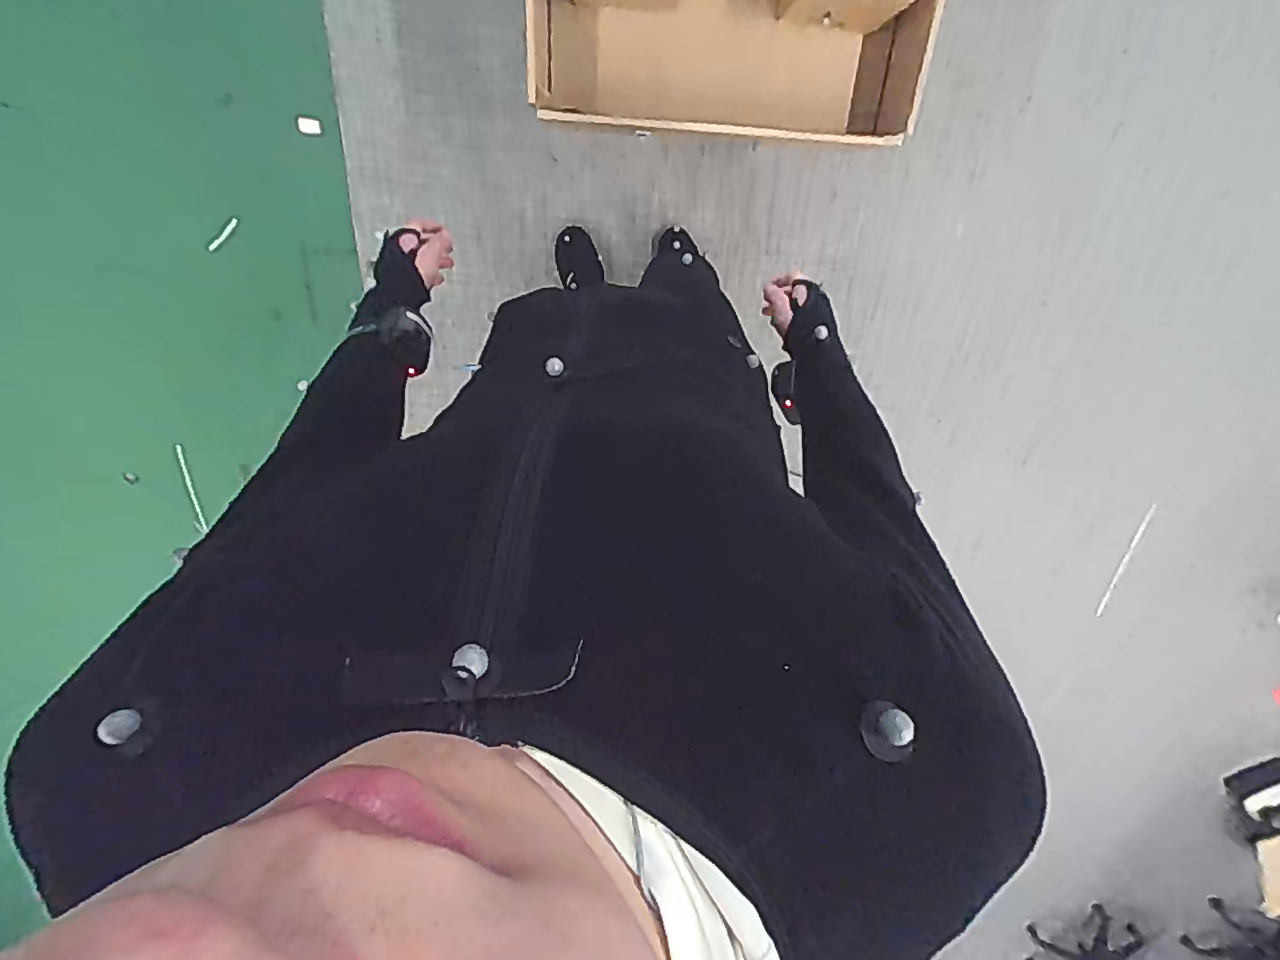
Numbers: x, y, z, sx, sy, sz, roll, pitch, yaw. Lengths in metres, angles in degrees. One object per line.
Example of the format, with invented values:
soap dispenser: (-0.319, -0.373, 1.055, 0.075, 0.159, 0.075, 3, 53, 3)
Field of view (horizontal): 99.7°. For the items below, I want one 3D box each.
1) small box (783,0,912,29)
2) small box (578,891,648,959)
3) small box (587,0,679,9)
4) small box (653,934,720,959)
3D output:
small box: (0.323, -0.808, 0.798, 0.168, 0.176, 0.179, 4, 118, -4)
small box: (-0.067, 1.242, 1.450, 0.168, 0.176, 0.179, -7, 117, 1)
small box: (-0.014, -0.818, 0.784, 0.179, 0.176, 0.168, 3, 117, -3)
small box: (0.134, 1.454, 1.560, 0.179, 0.176, 0.168, 9, 116, -5)
